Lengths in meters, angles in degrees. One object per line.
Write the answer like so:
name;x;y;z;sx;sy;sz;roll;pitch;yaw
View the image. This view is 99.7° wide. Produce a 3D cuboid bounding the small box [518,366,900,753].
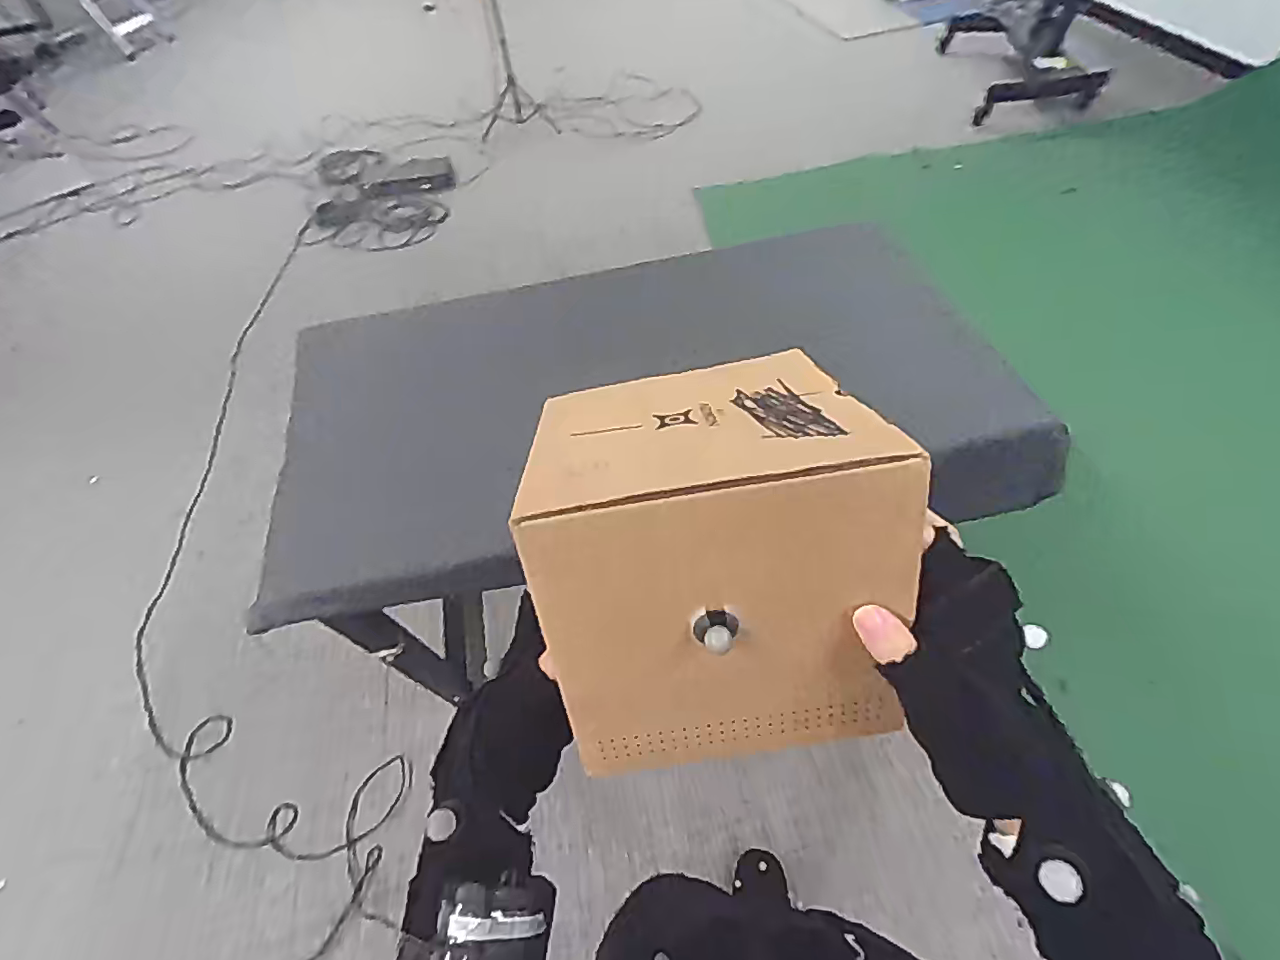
small box;0.038;0.041;0.346;0.179;0.176;0.168;-10;26;1
